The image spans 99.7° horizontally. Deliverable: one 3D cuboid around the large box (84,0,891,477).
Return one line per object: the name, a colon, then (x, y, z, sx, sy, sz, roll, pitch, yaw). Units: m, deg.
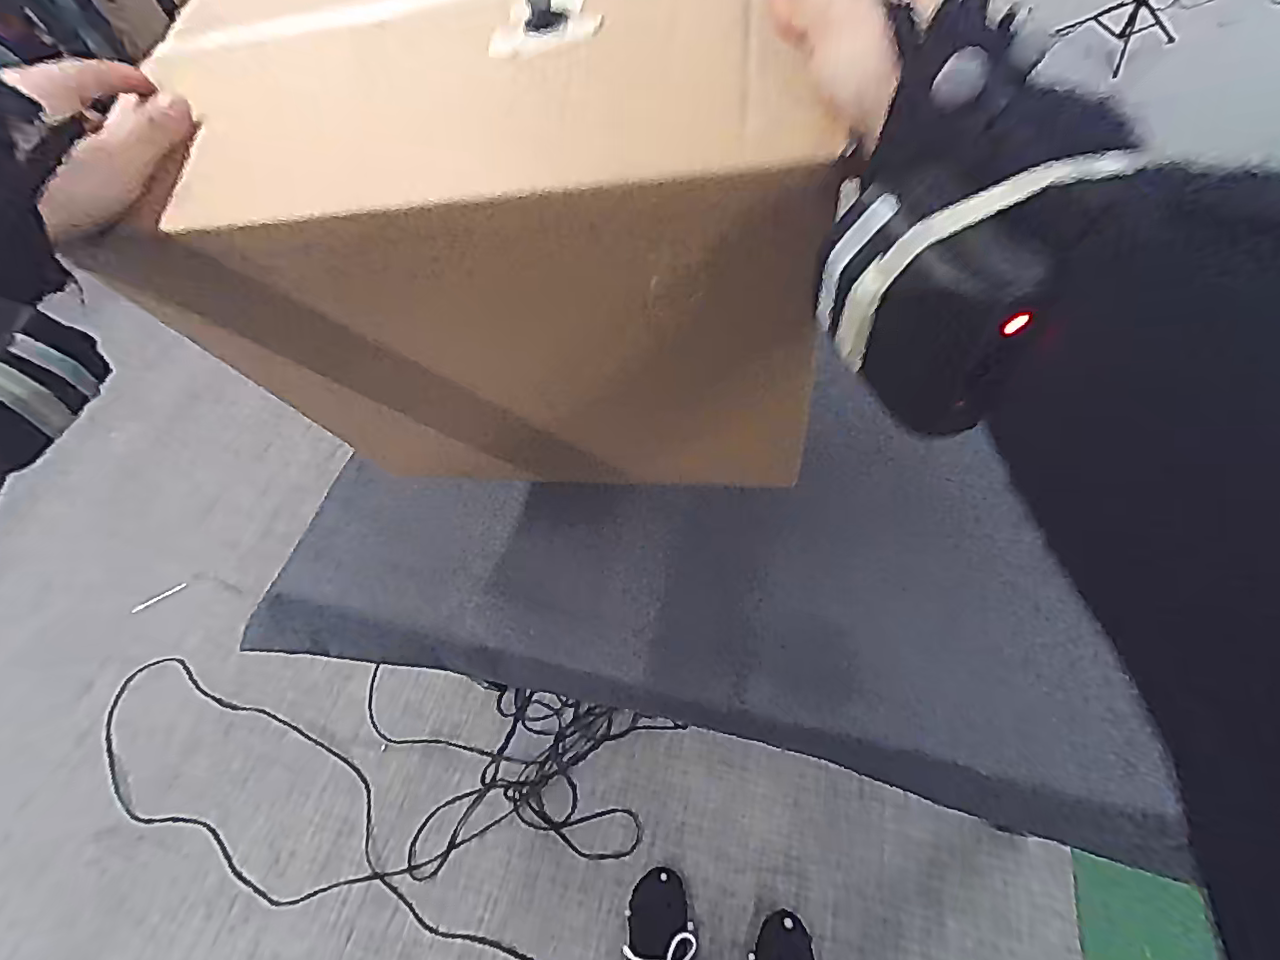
large box: (-0.060, -0.201, 0.435, 0.408, 0.320, 0.320, 1, 68, 12)
